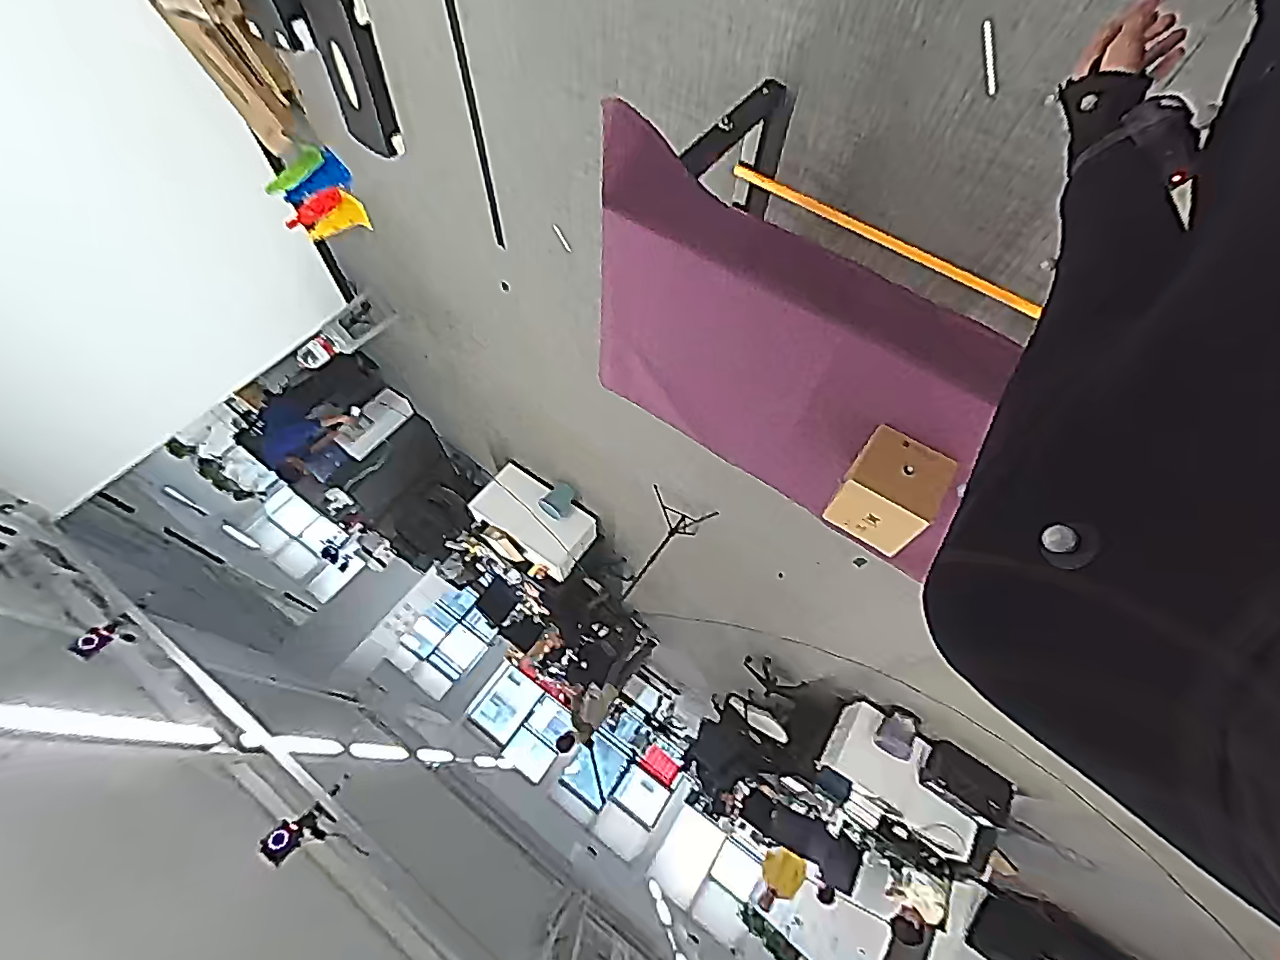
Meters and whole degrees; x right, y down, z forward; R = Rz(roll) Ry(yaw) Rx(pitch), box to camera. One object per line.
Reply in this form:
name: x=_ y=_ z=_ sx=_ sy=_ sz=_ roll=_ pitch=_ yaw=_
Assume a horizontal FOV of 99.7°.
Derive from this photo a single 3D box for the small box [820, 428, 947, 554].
small box: x=0.513 y=0.021 z=1.138 sx=0.168 sy=0.176 sz=0.179 roll=32 pitch=155 yaw=15
